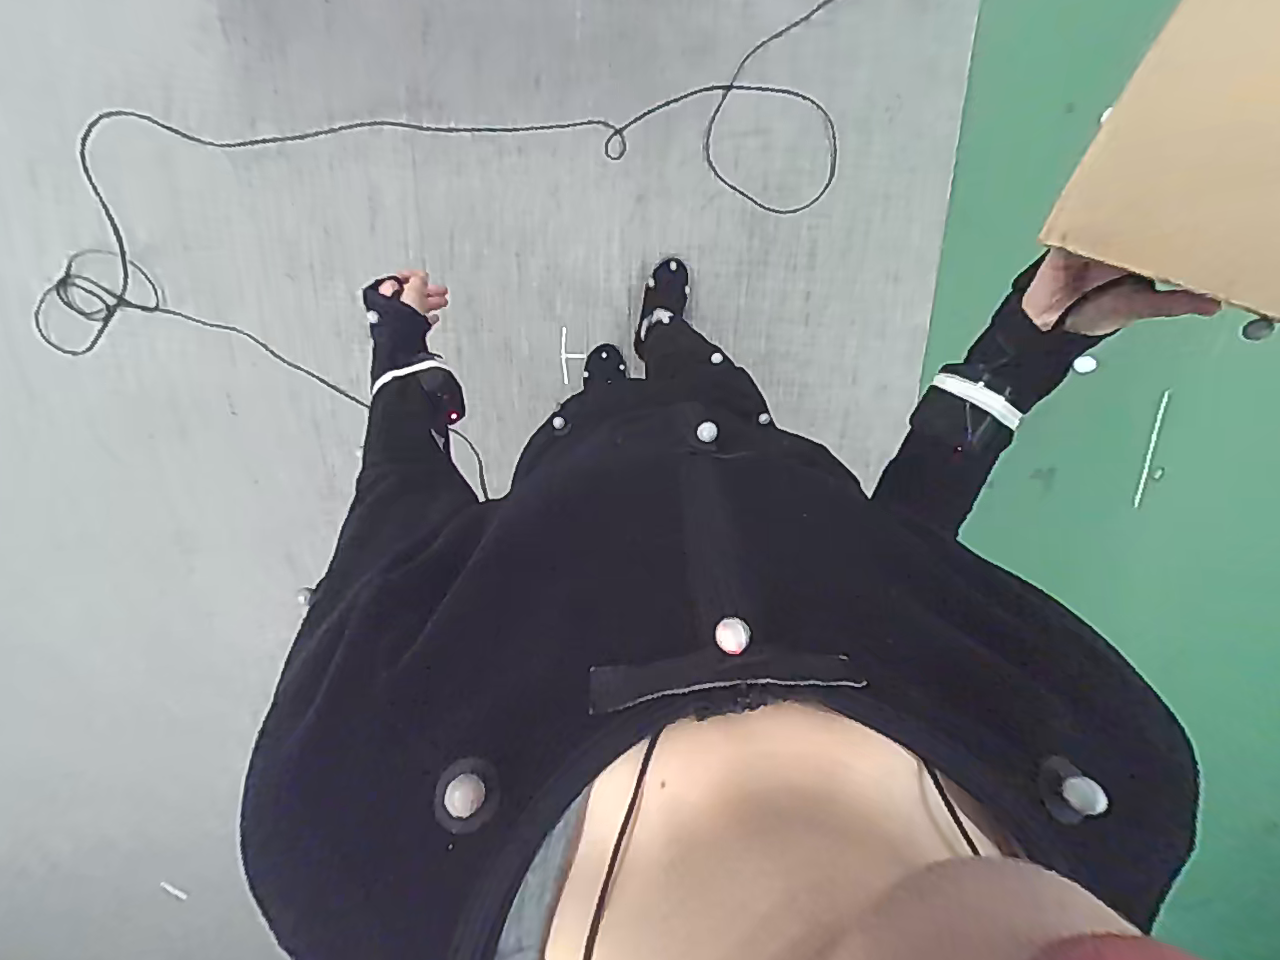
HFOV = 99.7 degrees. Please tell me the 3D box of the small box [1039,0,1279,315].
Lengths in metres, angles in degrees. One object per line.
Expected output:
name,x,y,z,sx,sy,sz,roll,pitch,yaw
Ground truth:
small box,0.337,-0.161,0.241,0.176,0.179,0.168,-9,130,-34
